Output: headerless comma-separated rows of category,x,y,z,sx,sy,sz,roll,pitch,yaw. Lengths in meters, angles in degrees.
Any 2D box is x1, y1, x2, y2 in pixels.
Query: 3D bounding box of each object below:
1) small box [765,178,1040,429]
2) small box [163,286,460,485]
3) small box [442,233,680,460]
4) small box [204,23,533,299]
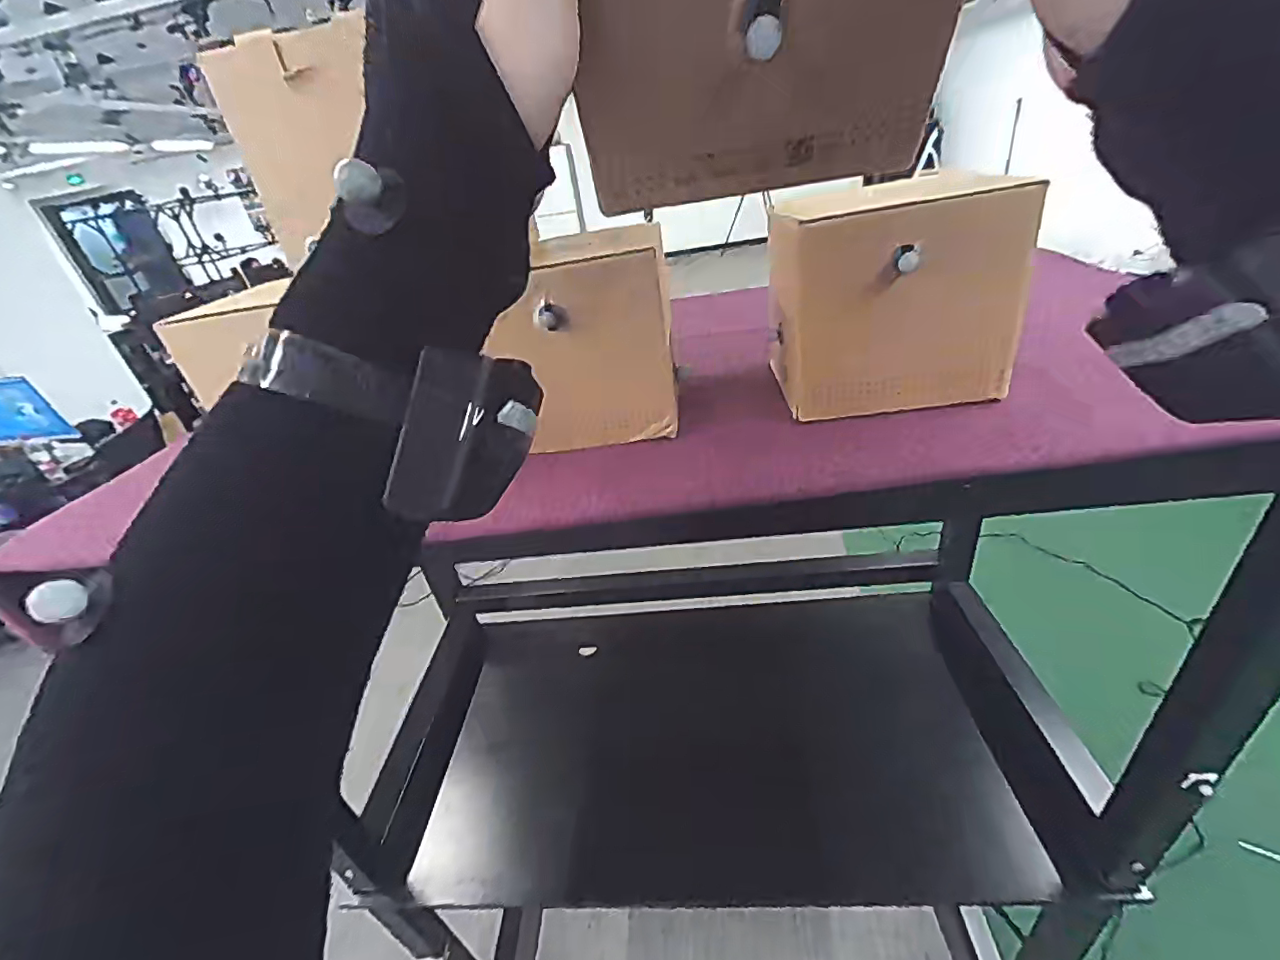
small box,0.217,-0.163,0.498,0.179,0.176,0.168,-8,30,9
small box,-0.322,-0.108,0.574,0.179,0.176,0.168,-7,32,6
small box,-0.058,-0.130,0.532,0.179,0.176,0.168,-6,31,8
small box,-0.207,-0.263,0.476,0.168,0.176,0.179,-5,31,9
